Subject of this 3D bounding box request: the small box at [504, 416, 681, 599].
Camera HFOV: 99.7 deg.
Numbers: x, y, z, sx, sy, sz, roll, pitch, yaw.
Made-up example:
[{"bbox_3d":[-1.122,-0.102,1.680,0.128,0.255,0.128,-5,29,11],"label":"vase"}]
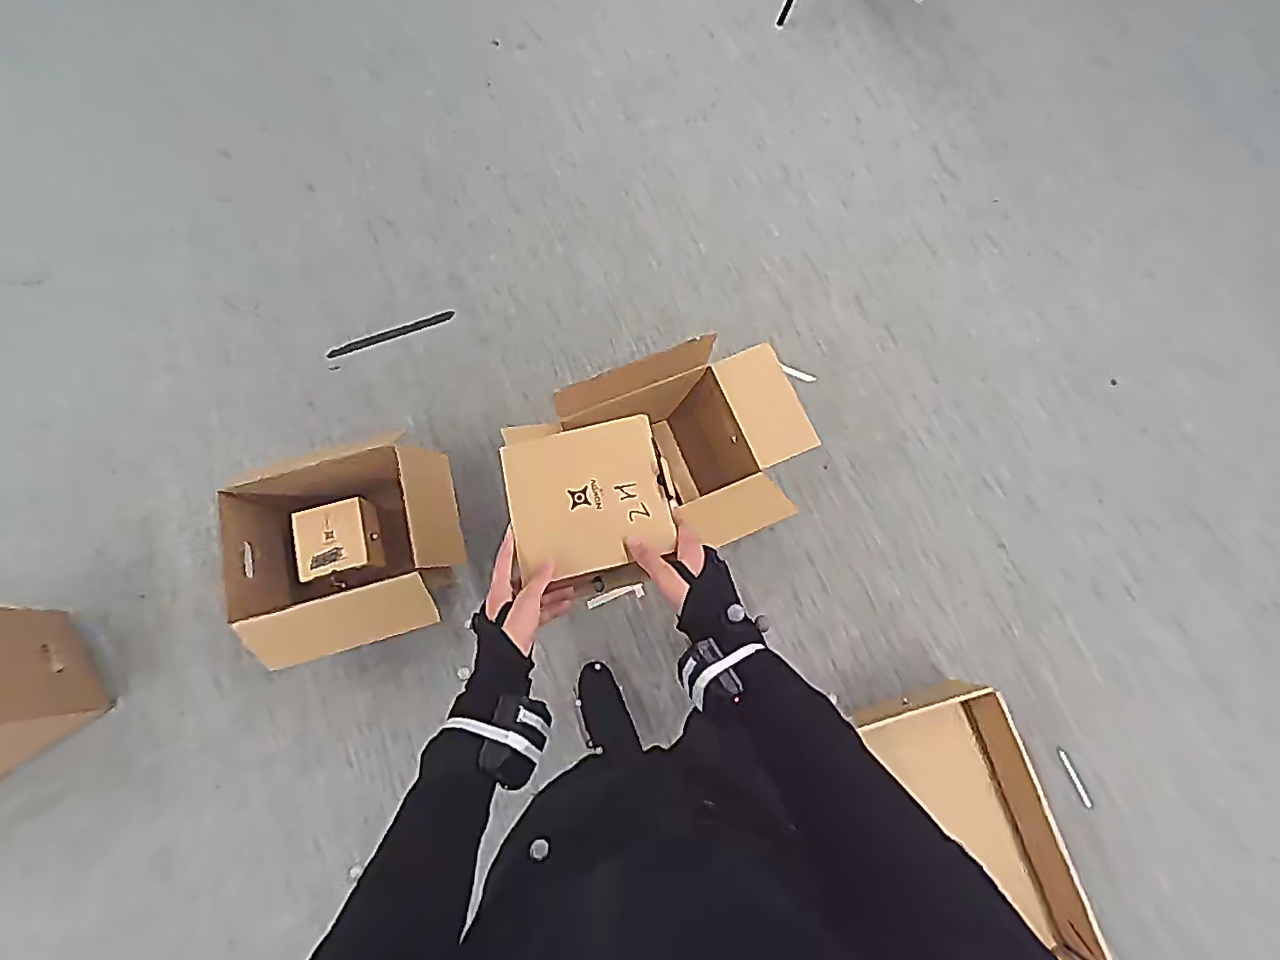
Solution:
[{"bbox_3d":[-0.052,0.044,0.669,0.179,0.176,0.168,-12,72,-2],"label":"small box"}]
